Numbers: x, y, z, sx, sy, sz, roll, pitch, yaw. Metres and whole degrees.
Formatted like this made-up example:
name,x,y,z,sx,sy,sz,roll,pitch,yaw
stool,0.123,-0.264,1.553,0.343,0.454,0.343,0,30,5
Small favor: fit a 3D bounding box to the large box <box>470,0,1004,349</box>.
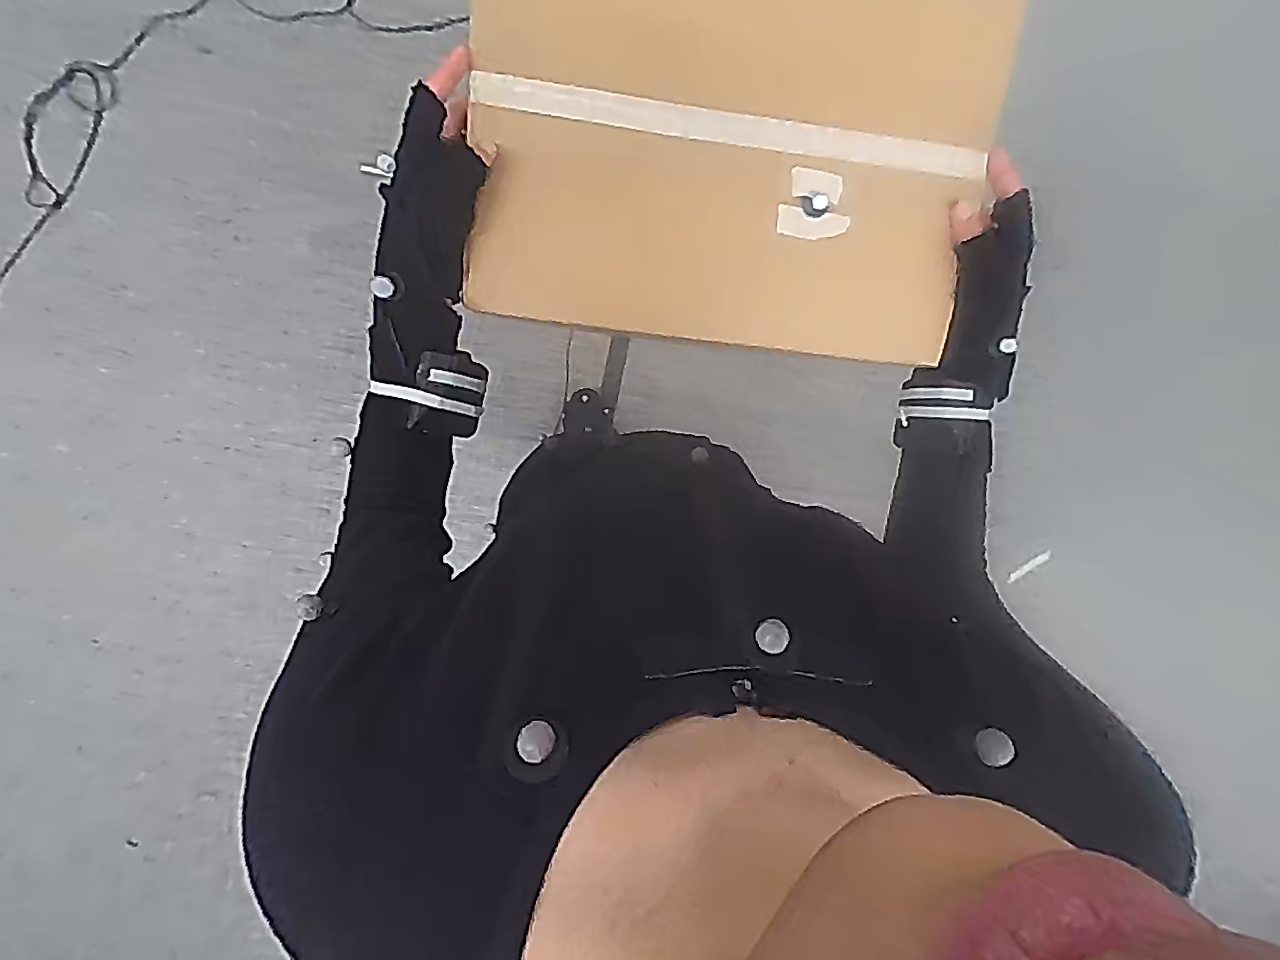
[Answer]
name,x,y,z,sx,sy,sz,roll,pitch,yaw
large box,0.058,-0.311,0.564,0.408,0.320,0.320,5,104,-6
